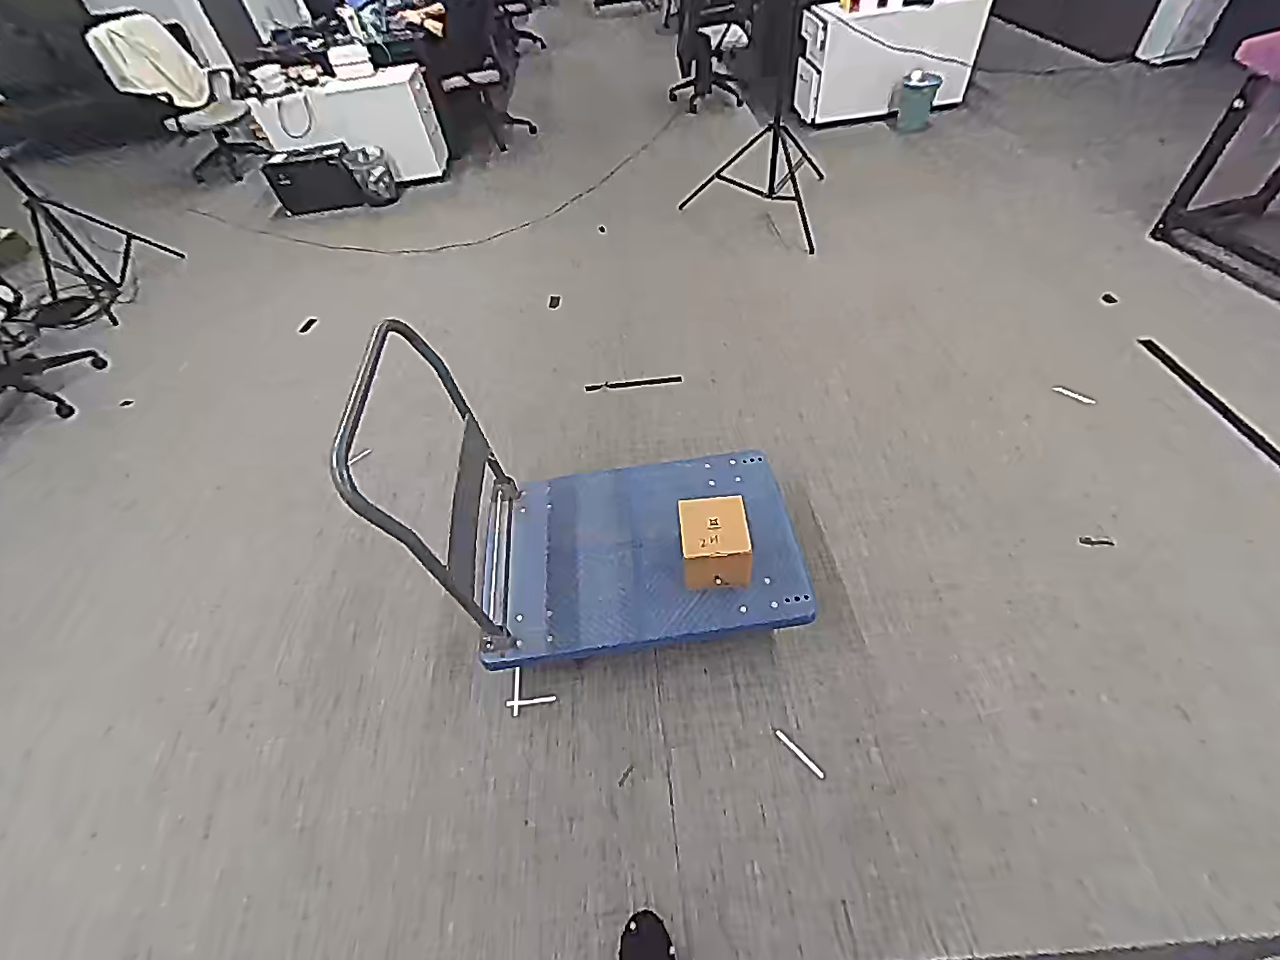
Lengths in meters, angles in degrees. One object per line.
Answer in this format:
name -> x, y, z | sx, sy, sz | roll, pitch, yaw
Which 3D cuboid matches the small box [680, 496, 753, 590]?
small box -> 0.194, 0.165, 1.404 | 0.168, 0.176, 0.179 | -6, 50, 4
